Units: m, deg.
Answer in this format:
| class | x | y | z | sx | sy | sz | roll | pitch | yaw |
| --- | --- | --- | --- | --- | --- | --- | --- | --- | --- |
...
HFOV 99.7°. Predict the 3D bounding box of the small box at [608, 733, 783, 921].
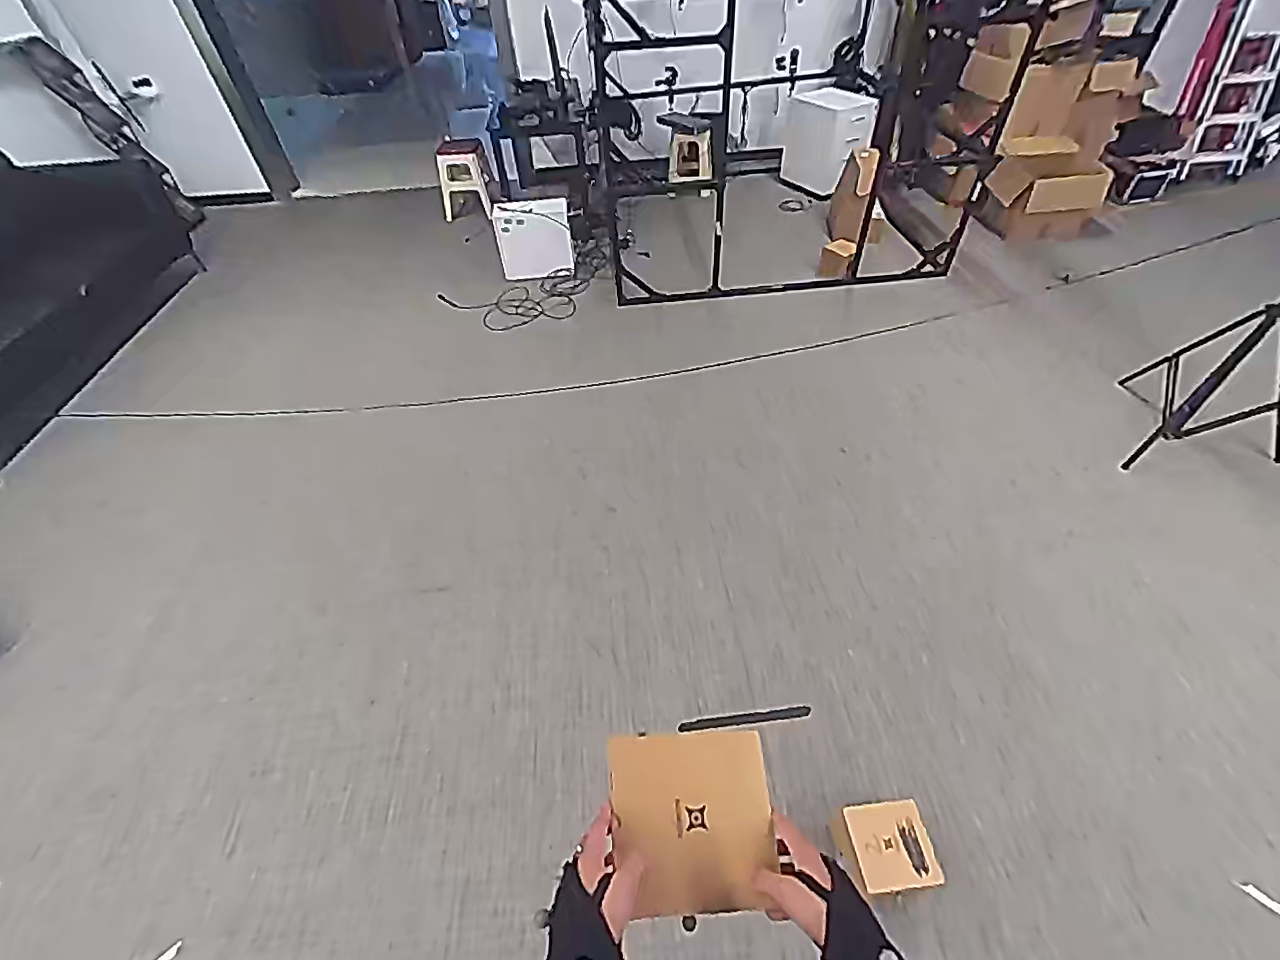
| class | x | y | z | sx | sy | sz | roll | pitch | yaw |
| --- | --- | --- | --- | --- | --- | --- | --- | --- | --- |
| small box | 0.051 | 0.403 | 0.645 | 0.179 | 0.176 | 0.168 | -2 | 59 | -3 |
